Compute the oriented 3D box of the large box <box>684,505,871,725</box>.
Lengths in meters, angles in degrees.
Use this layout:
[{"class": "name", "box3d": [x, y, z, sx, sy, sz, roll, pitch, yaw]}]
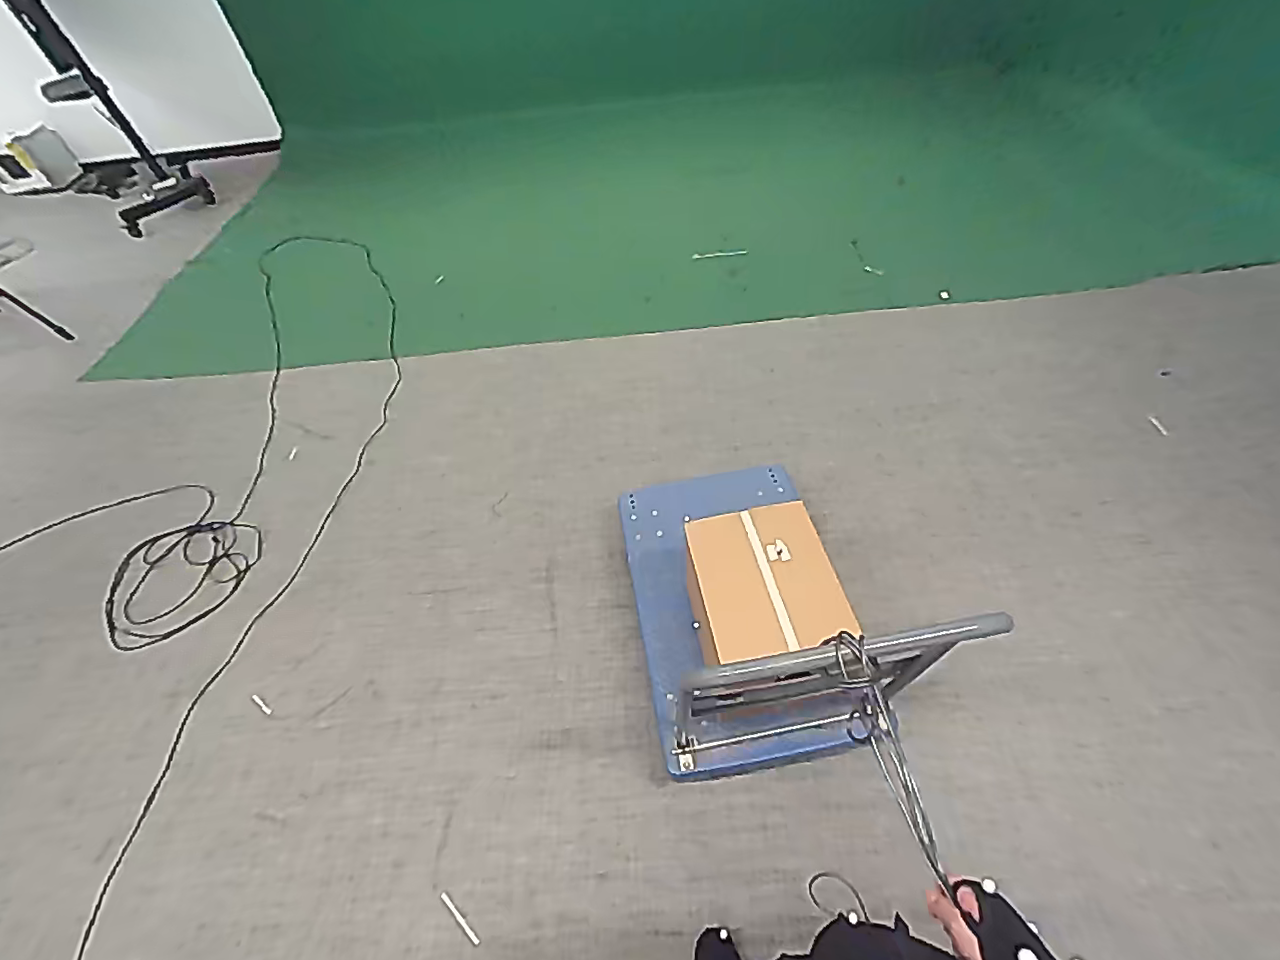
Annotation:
[{"class": "large box", "box3d": [0.307, 0.333, 1.343, 0.320, 0.320, 0.408, -10, 50, -3]}]
